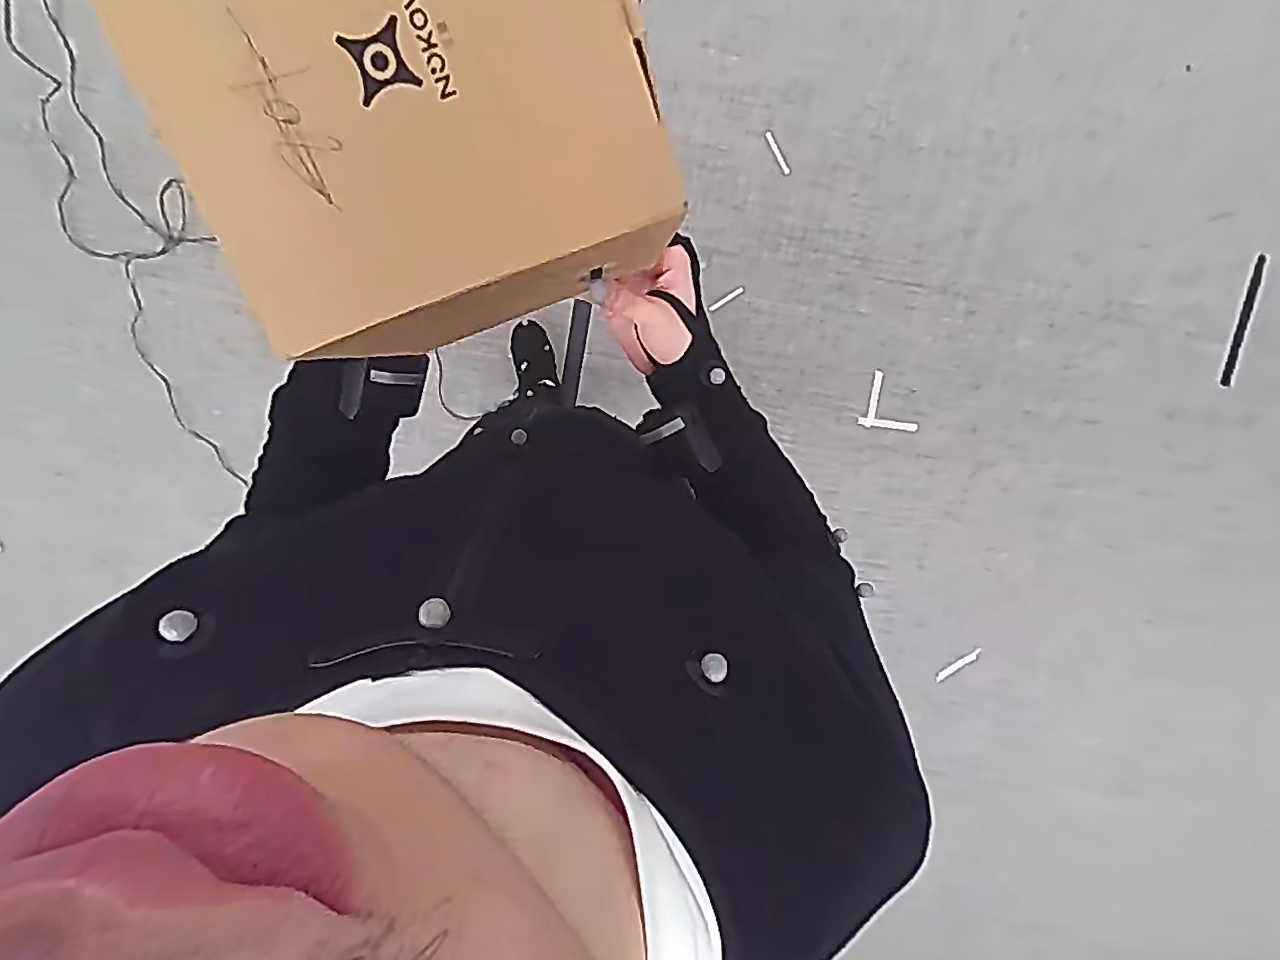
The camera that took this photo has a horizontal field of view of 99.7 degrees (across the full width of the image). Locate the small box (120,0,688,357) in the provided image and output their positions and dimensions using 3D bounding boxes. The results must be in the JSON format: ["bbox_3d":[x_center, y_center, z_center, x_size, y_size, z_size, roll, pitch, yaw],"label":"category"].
[{"bbox_3d":[-0.093,-0.175,0.283,0.179,0.176,0.168,-21,103,2],"label":"small box"}]
